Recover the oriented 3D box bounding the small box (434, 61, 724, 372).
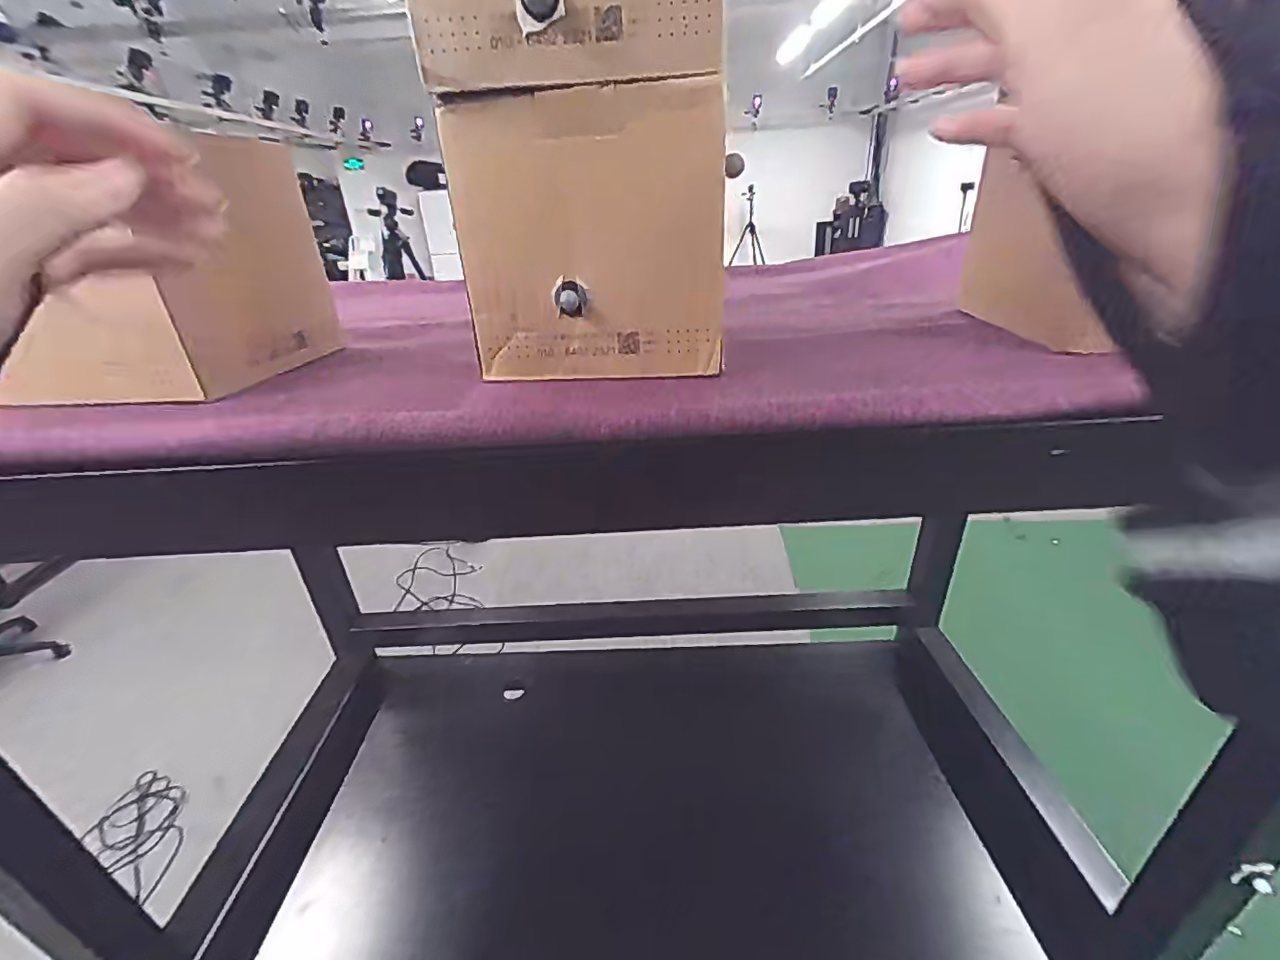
[{"bbox_3d":[-0.026,-0.185,0.404,0.168,0.176,0.179,-1,27,6],"label":"small box"}]

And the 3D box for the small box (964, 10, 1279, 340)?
[{"bbox_3d":[0.359,-0.202,0.380,0.168,0.176,0.179,-1,29,7],"label":"small box"}]

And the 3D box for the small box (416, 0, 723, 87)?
[{"bbox_3d":[-0.042,-0.327,0.327,0.168,0.176,0.179,-4,28,2],"label":"small box"}]
